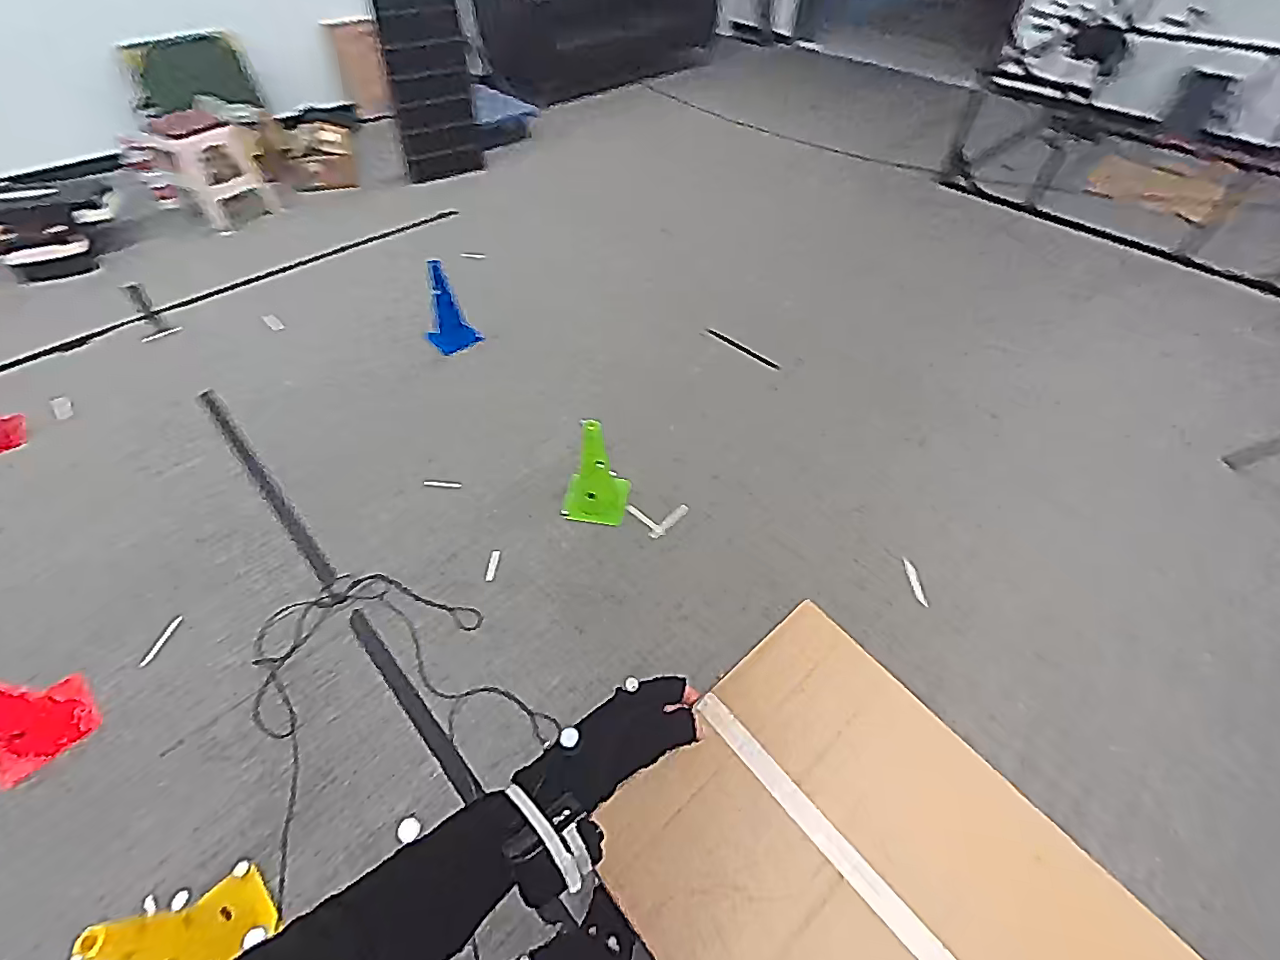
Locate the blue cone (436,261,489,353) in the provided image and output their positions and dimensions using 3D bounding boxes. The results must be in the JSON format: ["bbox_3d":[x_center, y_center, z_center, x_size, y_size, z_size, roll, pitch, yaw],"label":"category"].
[{"bbox_3d":[-0.797,-0.751,2.313,0.192,0.380,0.193,-32,58,-27],"label":"blue cone"}]

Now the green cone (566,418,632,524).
[{"bbox_3d":[-0.130,-0.050,1.726,0.200,0.368,0.202,8,49,4],"label":"green cone"}]

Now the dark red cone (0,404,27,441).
[{"bbox_3d":[-2.325,-0.289,1.819,0.201,0.394,0.202,-30,57,-25],"label":"dark red cone"}]

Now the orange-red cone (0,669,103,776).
[{"bbox_3d":[-1.476,0.496,1.223,0.199,0.360,0.198,38,59,24],"label":"orange-red cone"}]
